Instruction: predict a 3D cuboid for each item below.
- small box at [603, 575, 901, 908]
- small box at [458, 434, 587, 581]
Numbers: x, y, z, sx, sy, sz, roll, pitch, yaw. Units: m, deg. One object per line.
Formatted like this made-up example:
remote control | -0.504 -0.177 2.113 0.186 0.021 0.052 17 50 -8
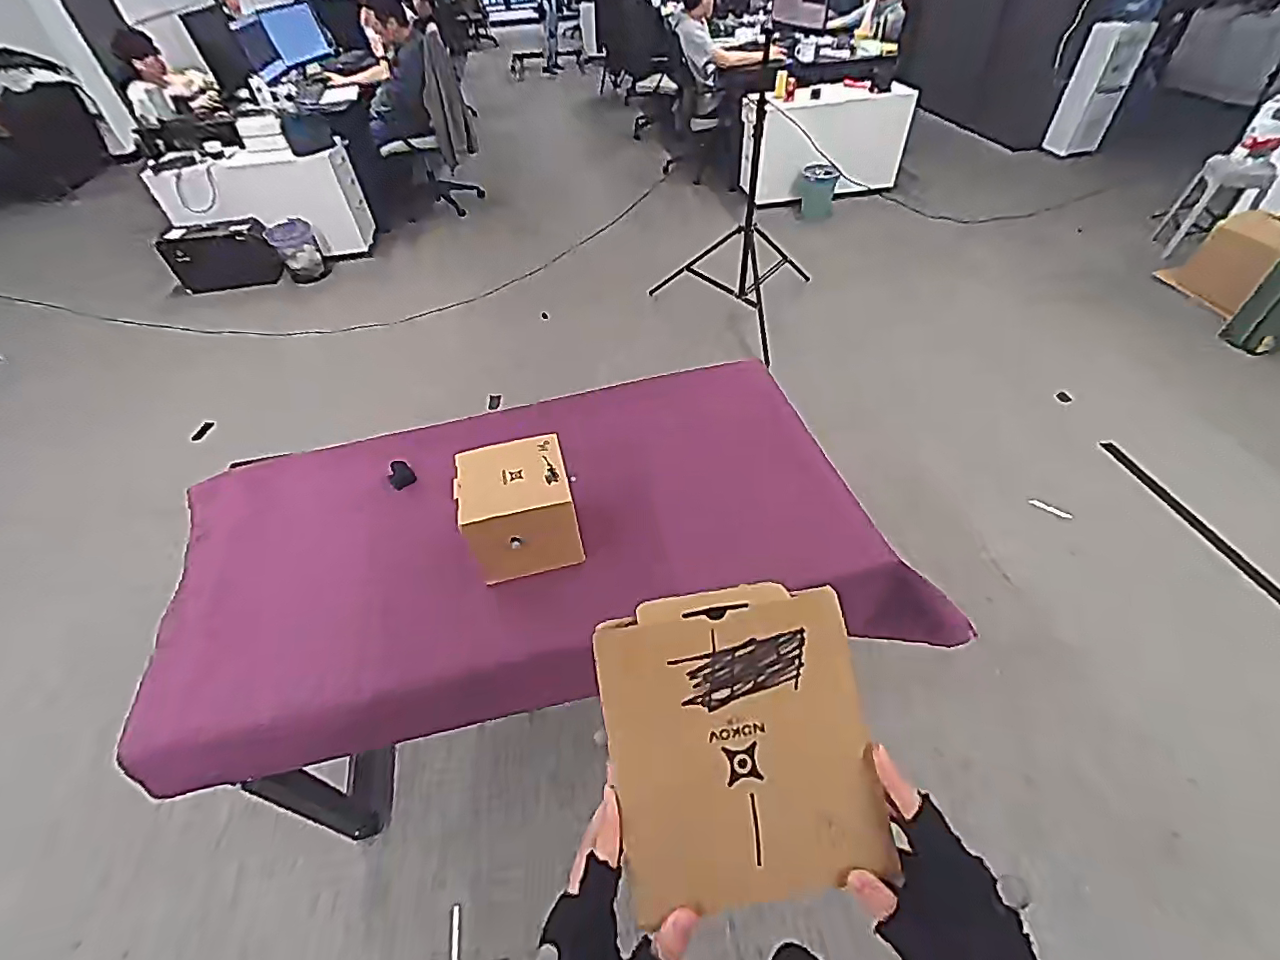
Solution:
small box | 0.064 0.179 0.422 0.168 0.176 0.179 -9 77 -3
small box | -0.201 0.050 0.933 0.179 0.176 0.168 -13 47 -7
